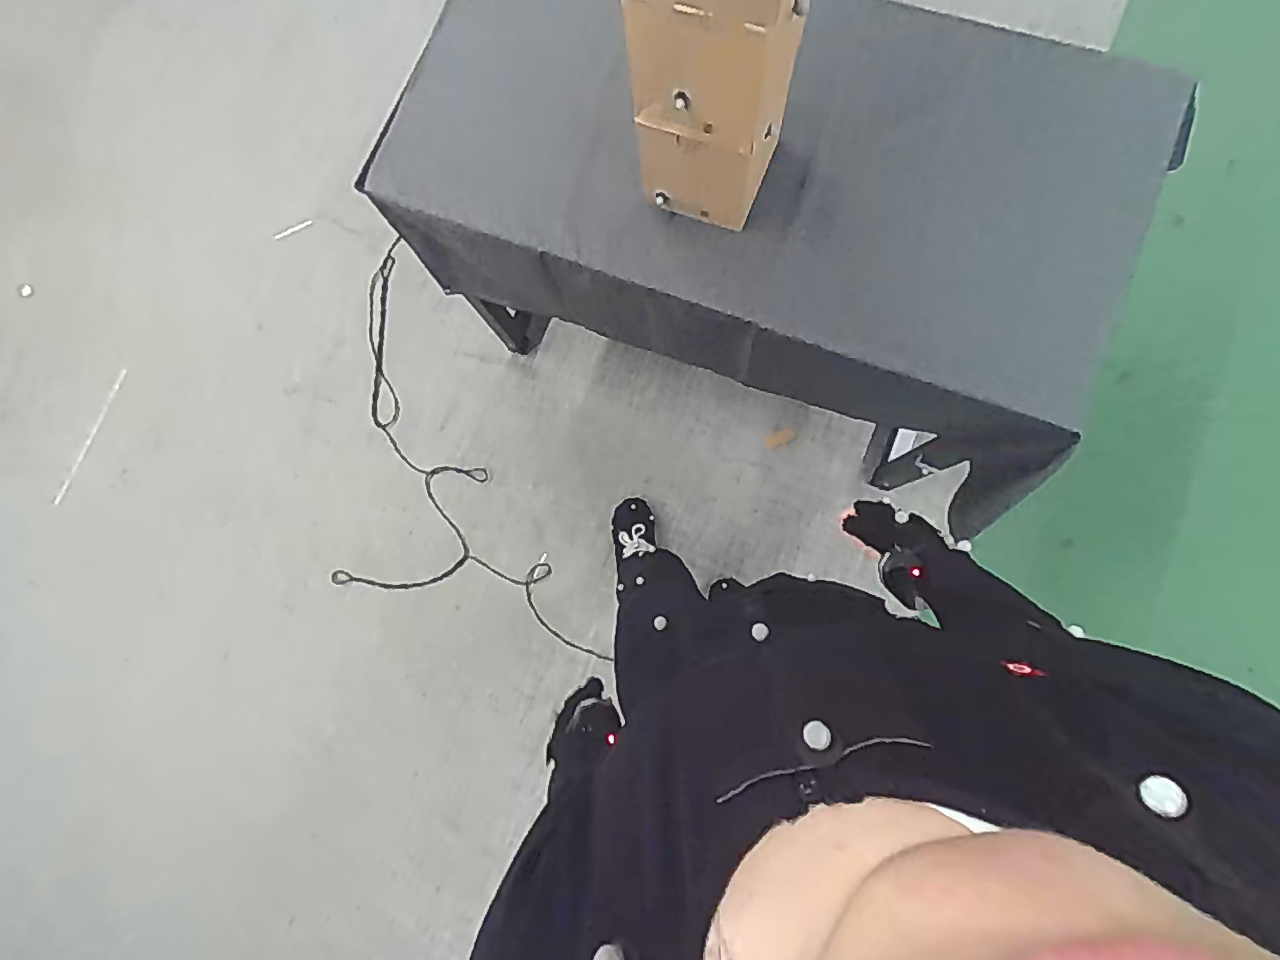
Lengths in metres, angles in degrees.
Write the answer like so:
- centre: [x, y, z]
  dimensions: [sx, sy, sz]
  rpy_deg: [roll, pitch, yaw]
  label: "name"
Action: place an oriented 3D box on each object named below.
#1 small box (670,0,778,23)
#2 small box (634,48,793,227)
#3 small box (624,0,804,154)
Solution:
- centre: [0.077, -0.559, 0.473]
  dimensions: [0.179, 0.176, 0.168]
  rpy_deg: [23, 84, 8]
  label: "small box"
- centre: [0.106, -0.512, 0.795]
  dimensions: [0.168, 0.176, 0.179]
  rpy_deg: [21, 82, 8]
  label: "small box"
- centre: [0.092, -0.536, 0.636]
  dimensions: [0.168, 0.176, 0.179]
  rpy_deg: [21, 84, 8]
  label: "small box"
